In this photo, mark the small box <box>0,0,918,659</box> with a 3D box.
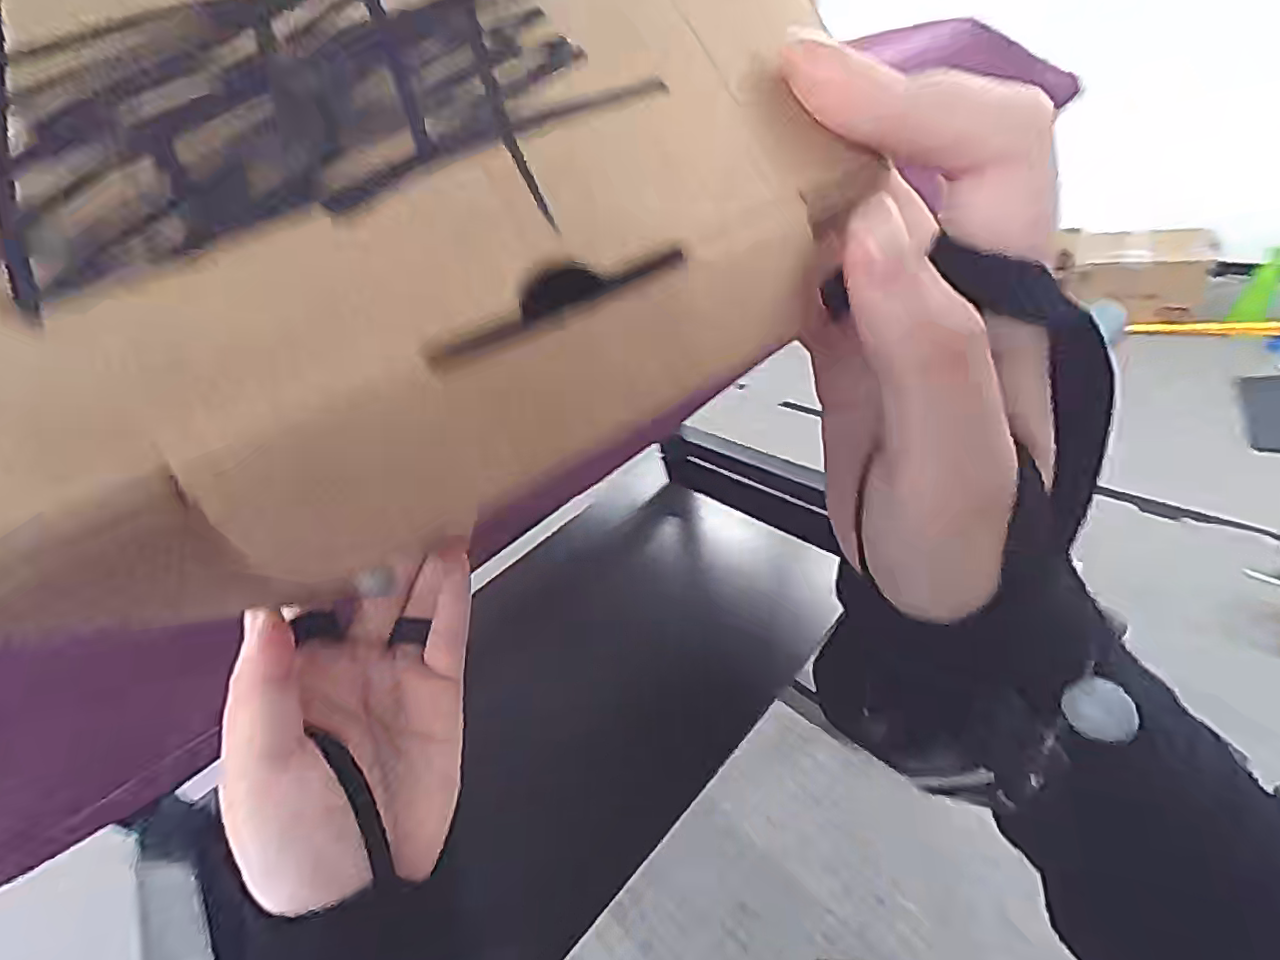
[{"bbox_3d":[-0.080,-0.081,0.145,0.168,0.179,0.176,-33,1,-23],"label":"small box"}]
